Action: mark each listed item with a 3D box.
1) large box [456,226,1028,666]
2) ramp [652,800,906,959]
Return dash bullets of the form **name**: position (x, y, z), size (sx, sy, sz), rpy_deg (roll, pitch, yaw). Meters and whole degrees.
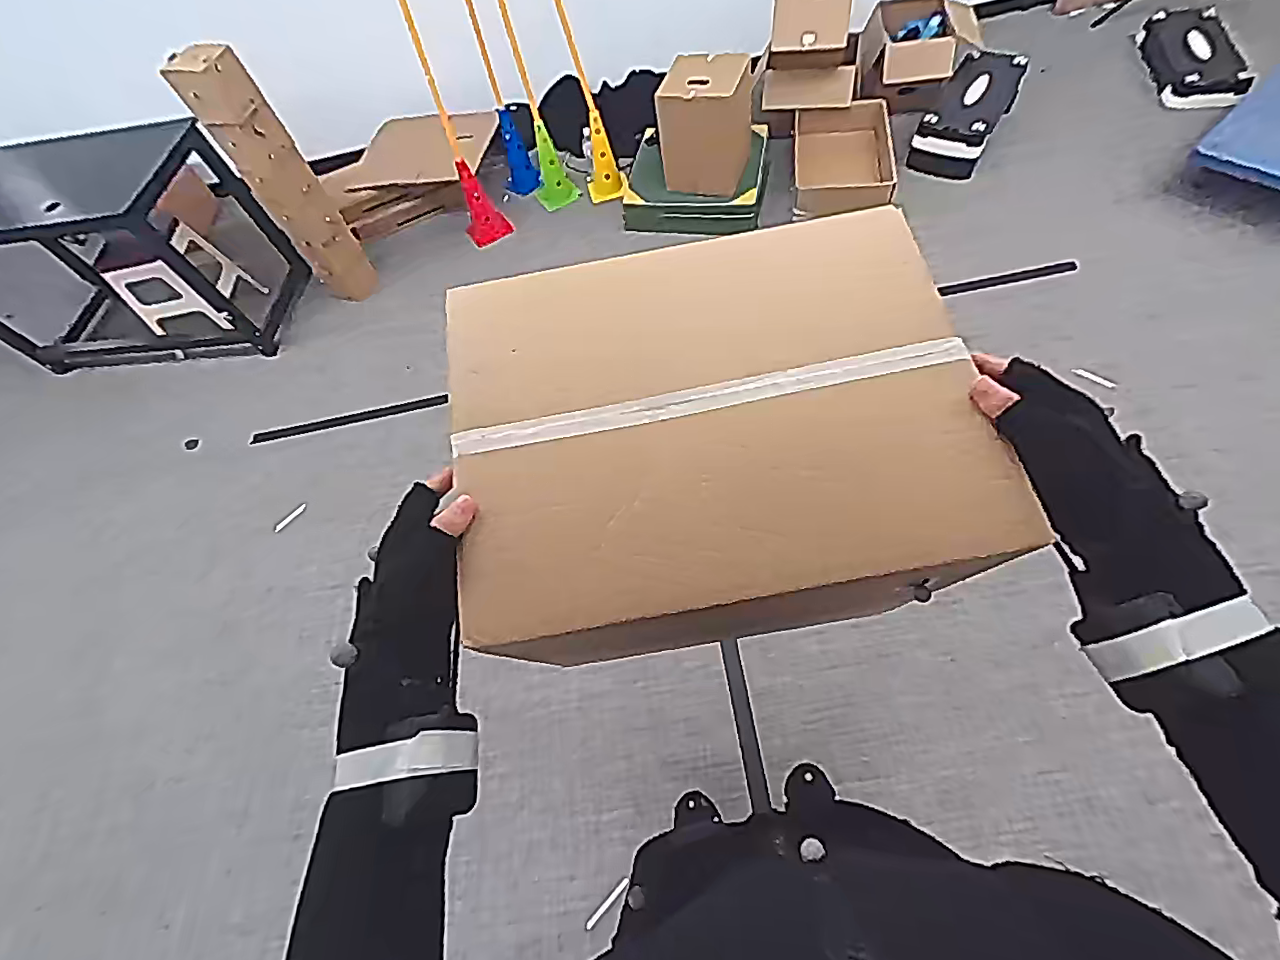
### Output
- **large box**: position (0.066, -0.001, 0.569), size (0.408, 0.320, 0.320), rpy_deg (-10, 68, 0)
- **ramp**: position (0.343, 1.223, 1.054), size (0.509, 0.206, 0.991), rpy_deg (-11, 60, 1)
